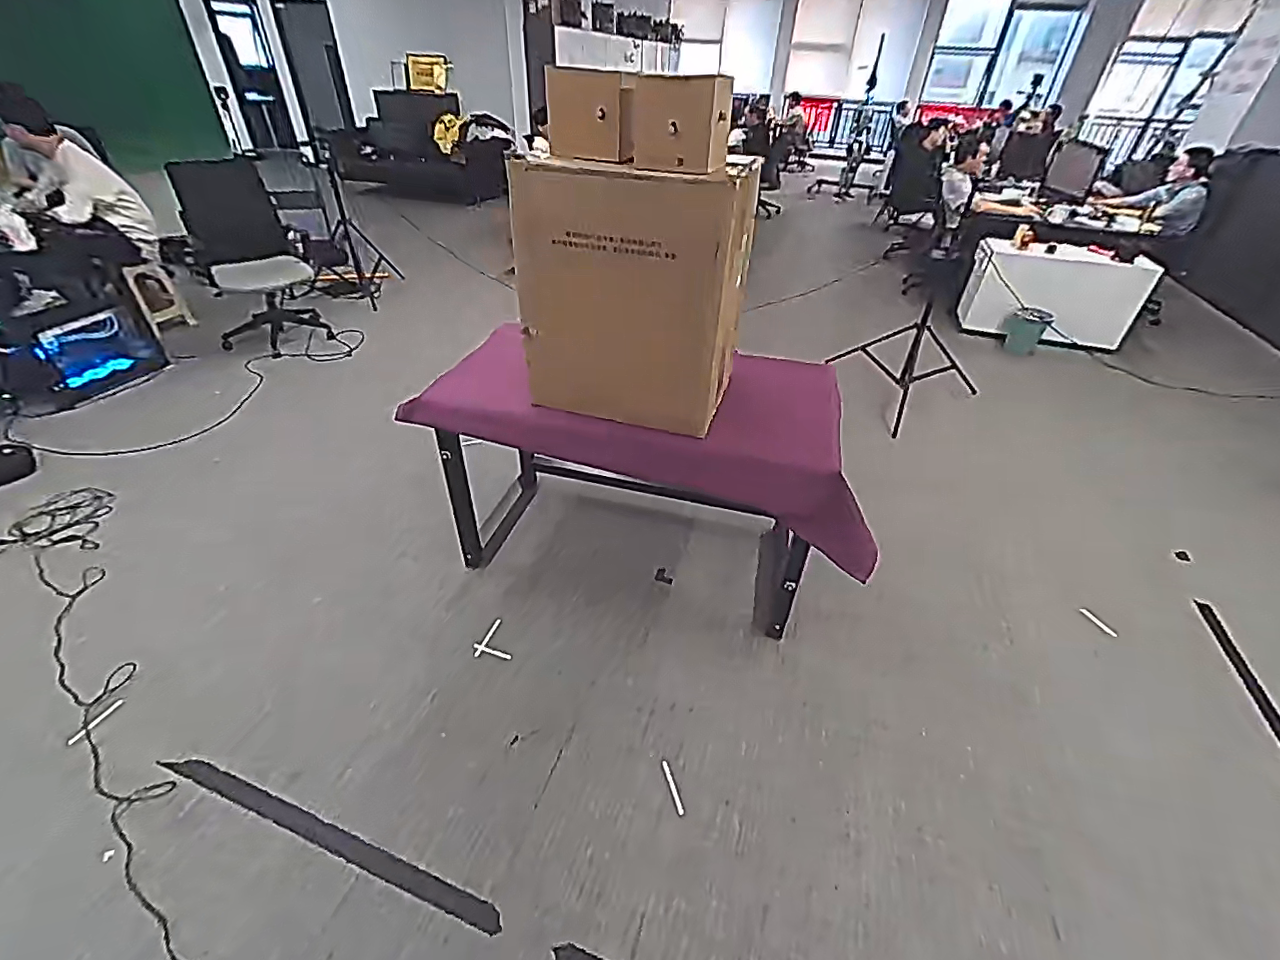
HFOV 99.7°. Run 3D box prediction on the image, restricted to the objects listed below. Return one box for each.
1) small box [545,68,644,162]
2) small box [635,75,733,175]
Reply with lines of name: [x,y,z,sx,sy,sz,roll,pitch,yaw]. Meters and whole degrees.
small box: [-0.100,-0.838,1.243,0.179,0.176,0.168,12,38,12]
small box: [0.095,-0.760,1.156,0.168,0.176,0.179,13,39,15]
